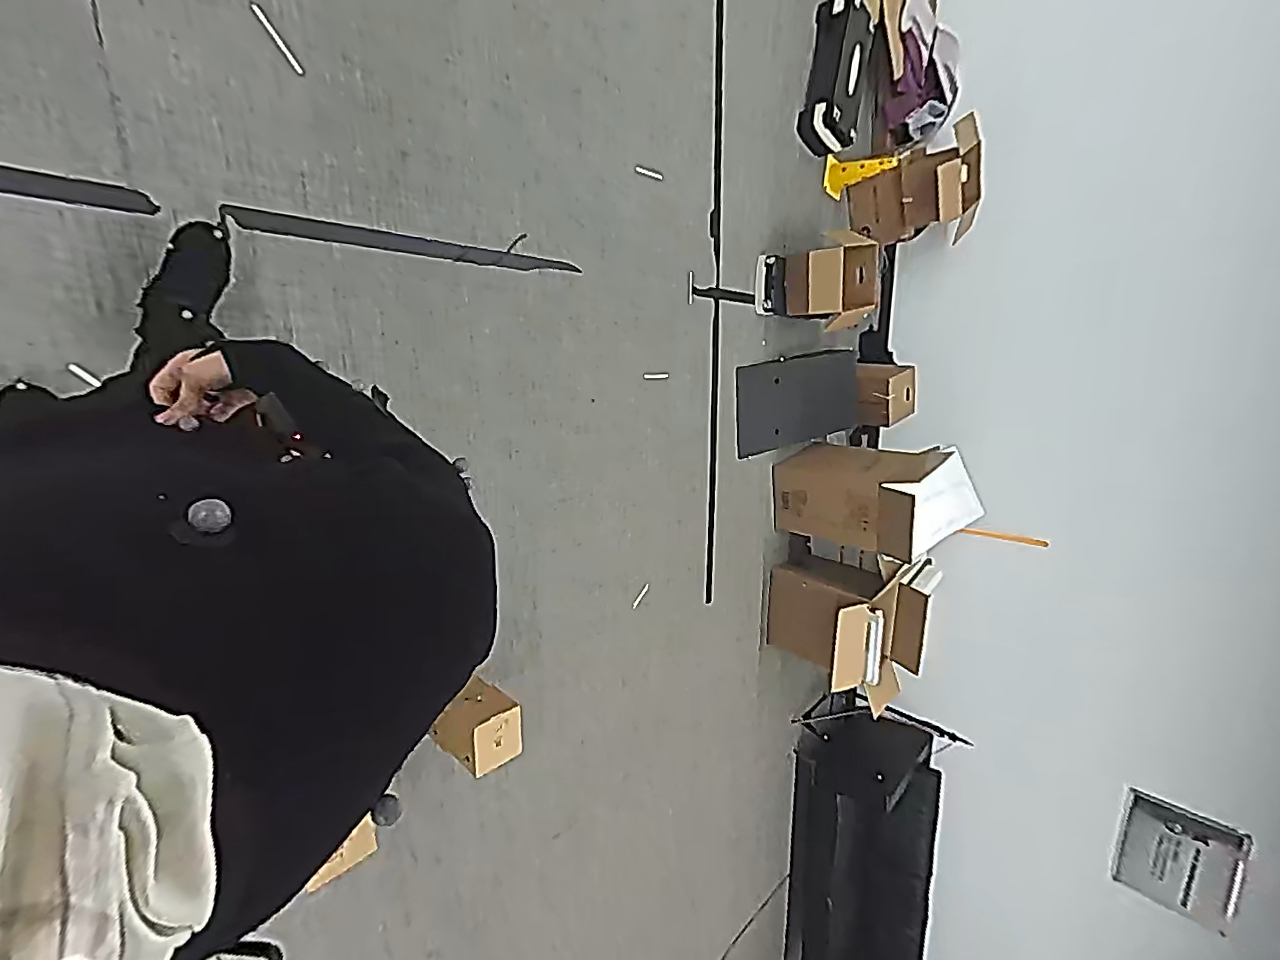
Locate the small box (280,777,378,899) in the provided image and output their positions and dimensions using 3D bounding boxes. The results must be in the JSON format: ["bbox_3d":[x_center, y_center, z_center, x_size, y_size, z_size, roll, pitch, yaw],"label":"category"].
[{"bbox_3d":[-0.806,0.906,1.397,0.168,0.176,0.179,-16,111,-43],"label":"small box"}]

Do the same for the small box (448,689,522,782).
[{"bbox_3d":[-0.488,0.796,1.703,0.168,0.176,0.179,-11,105,-46],"label":"small box"}]

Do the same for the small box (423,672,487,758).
[{"bbox_3d":[-0.612,0.779,1.811,0.168,0.176,0.179,-10,106,-45],"label":"small box"}]
